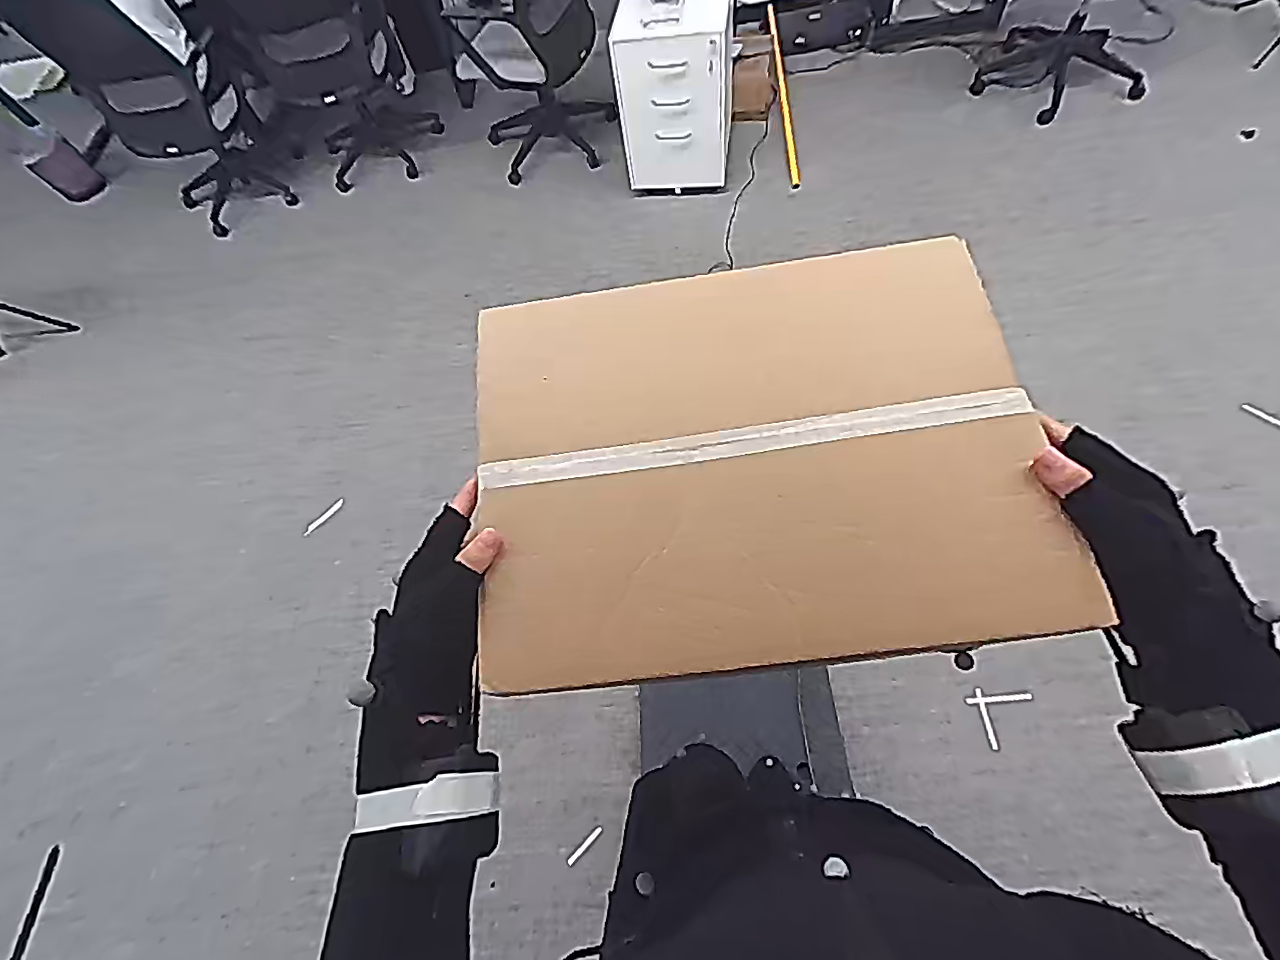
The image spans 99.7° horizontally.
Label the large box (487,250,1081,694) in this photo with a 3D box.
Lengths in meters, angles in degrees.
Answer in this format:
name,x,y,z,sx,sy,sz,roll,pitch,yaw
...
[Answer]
name,x,y,z,sx,sy,sz,roll,pitch,yaw
large box,0.096,0.026,0.554,0.408,0.320,0.320,-8,69,4
